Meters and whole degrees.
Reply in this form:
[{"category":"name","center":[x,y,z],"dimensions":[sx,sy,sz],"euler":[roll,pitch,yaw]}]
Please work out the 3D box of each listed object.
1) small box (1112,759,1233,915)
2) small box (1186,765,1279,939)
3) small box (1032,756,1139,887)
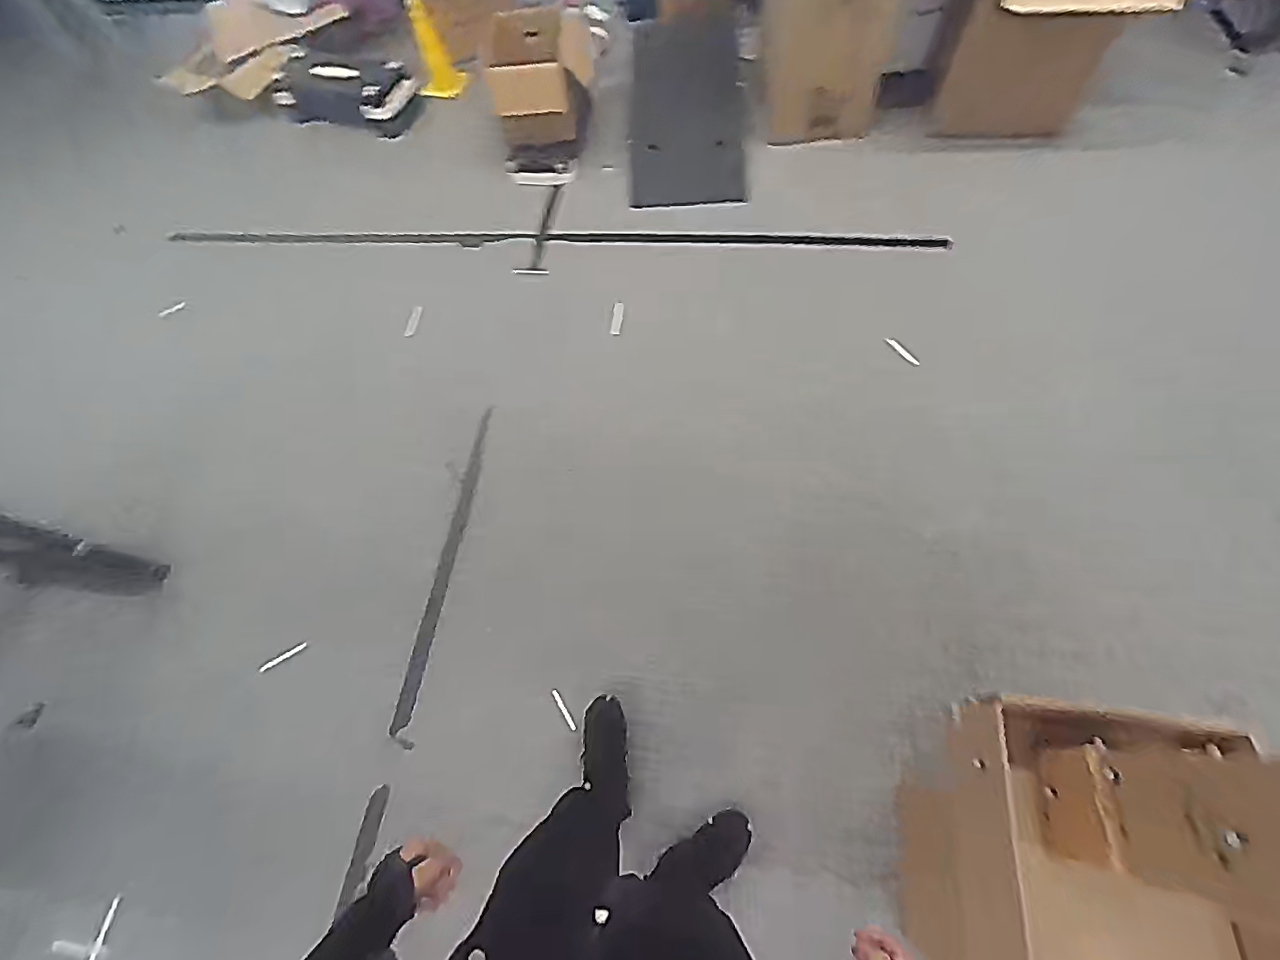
[{"category":"small box","center":[0.777,0.472,0.713],"dimensions":[0.179,0.176,0.168],"euler":[5,64,7]},{"category":"small box","center":[0.757,0.398,0.567],"dimensions":[0.179,0.176,0.168],"euler":[0,63,6]},{"category":"small box","center":[0.777,0.542,0.862],"dimensions":[0.179,0.176,0.168],"euler":[4,63,7]}]
